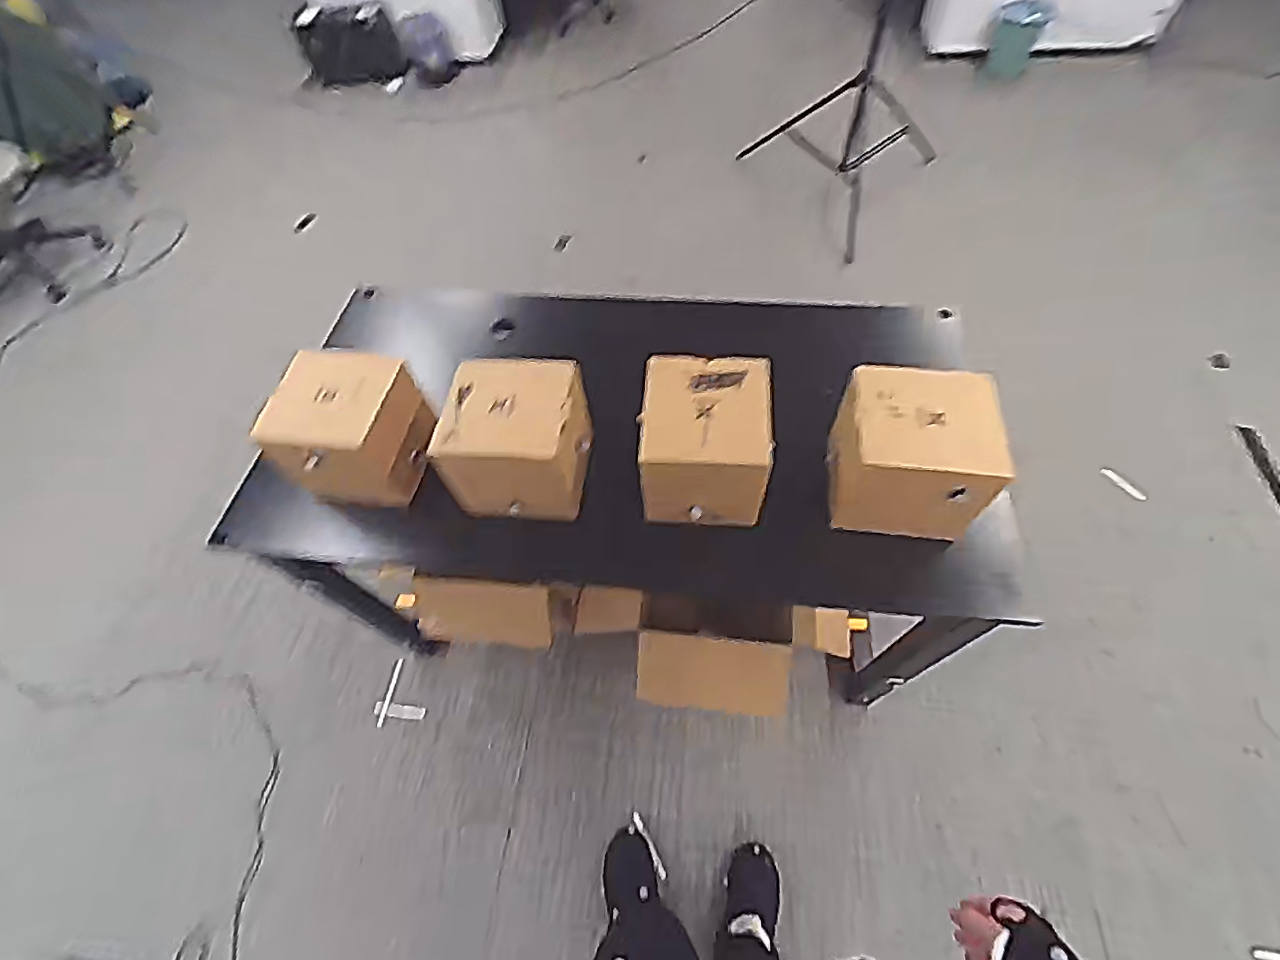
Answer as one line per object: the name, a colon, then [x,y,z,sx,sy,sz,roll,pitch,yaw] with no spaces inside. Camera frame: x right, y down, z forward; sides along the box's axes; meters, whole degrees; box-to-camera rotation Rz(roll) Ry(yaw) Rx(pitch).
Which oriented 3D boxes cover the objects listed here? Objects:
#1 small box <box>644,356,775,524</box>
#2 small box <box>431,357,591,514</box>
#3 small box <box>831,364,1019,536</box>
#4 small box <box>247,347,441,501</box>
small box: [0.097,-0.055,0.779,0.168,0.176,0.179,3,59,6]
small box: [-0.175,-0.061,0.802,0.179,0.176,0.168,4,58,5]
small box: [0.374,-0.036,0.746,0.179,0.176,0.168,6,58,8]
small box: [-0.435,-0.082,0.832,0.179,0.176,0.168,6,59,7]
